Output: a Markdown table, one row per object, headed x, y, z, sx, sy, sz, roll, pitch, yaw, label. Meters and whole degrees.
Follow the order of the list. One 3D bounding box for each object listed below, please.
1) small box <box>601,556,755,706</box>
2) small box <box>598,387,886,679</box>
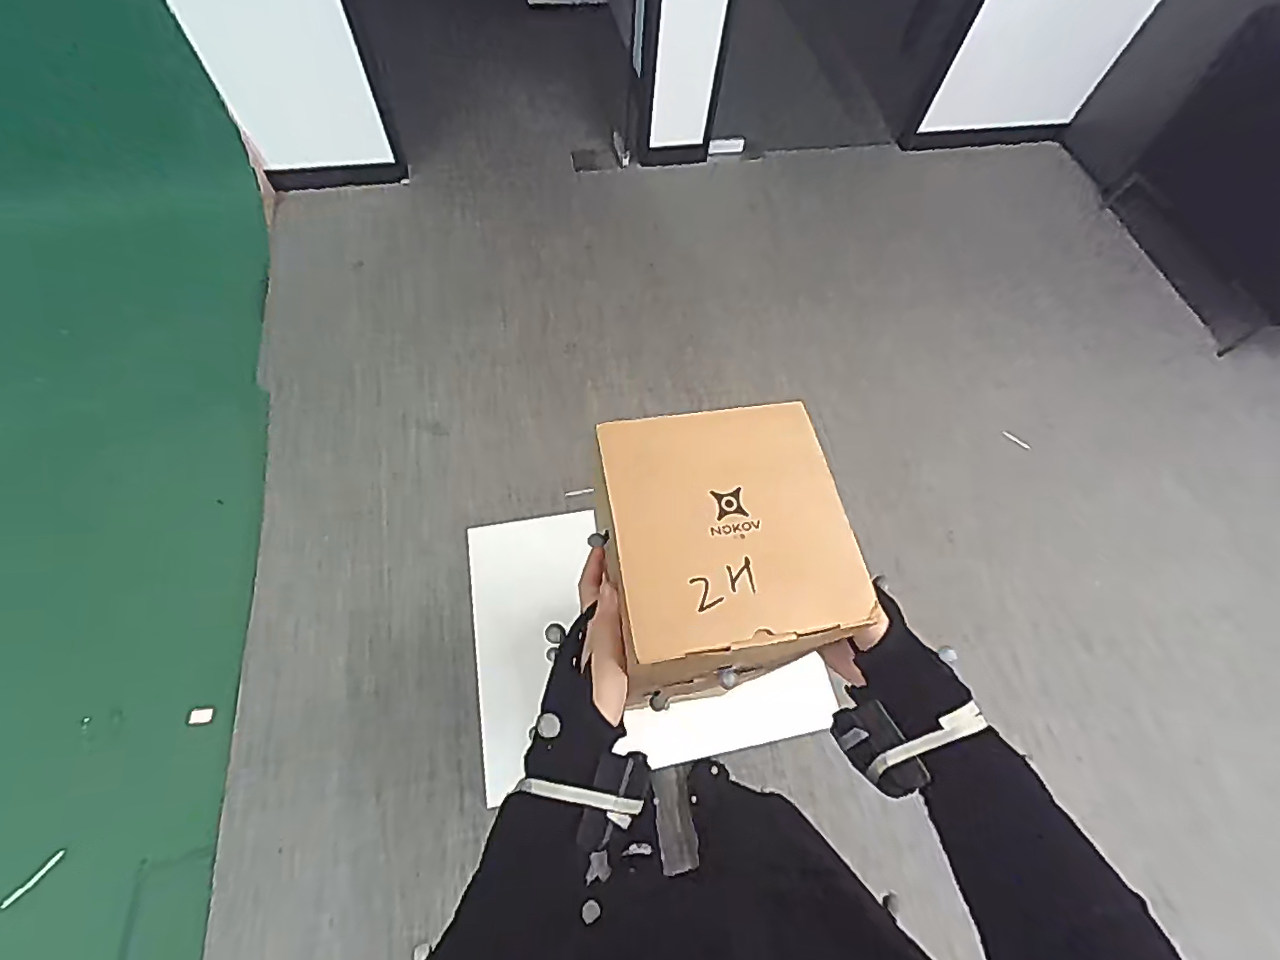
| x | y | z | sx | sy | sz | roll | pitch | yaw | label |
| --- | --- | --- | --- | --- | --- | --- | --- | --- | --- |
| 0.037 | 0.196 | 0.734 | 0.168 | 0.176 | 0.179 | -6 | 63 | -8 | small box |
| 0.057 | 0.049 | 0.440 | 0.168 | 0.176 | 0.179 | -7 | 64 | -8 | small box |
